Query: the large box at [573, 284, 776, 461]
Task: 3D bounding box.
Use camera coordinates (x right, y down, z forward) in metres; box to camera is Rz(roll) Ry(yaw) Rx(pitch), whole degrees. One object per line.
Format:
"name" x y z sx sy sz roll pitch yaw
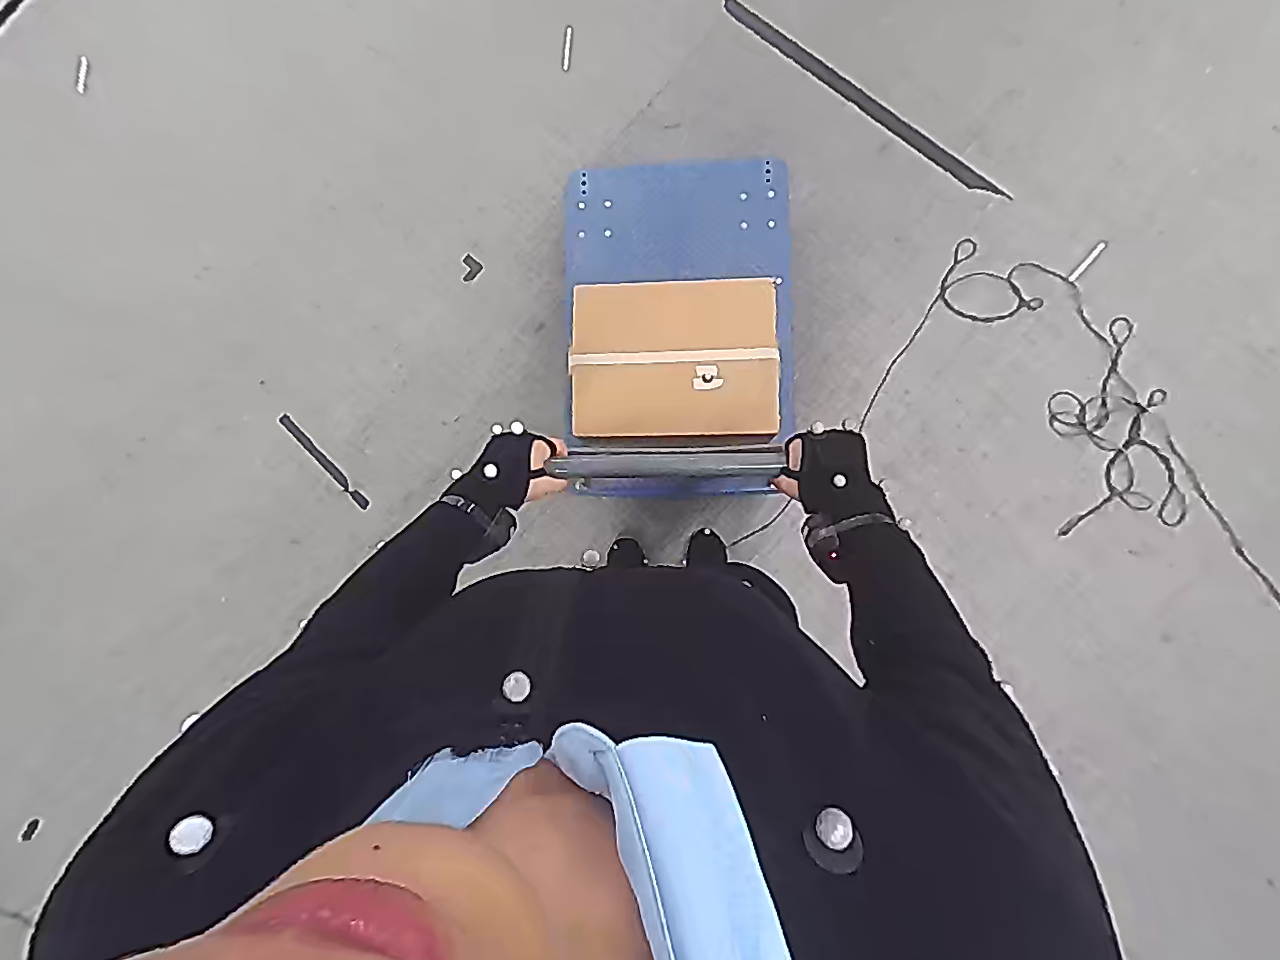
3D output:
"large box" 0.072 -0.218 1.217 0.408 0.320 0.320 -1 86 4
